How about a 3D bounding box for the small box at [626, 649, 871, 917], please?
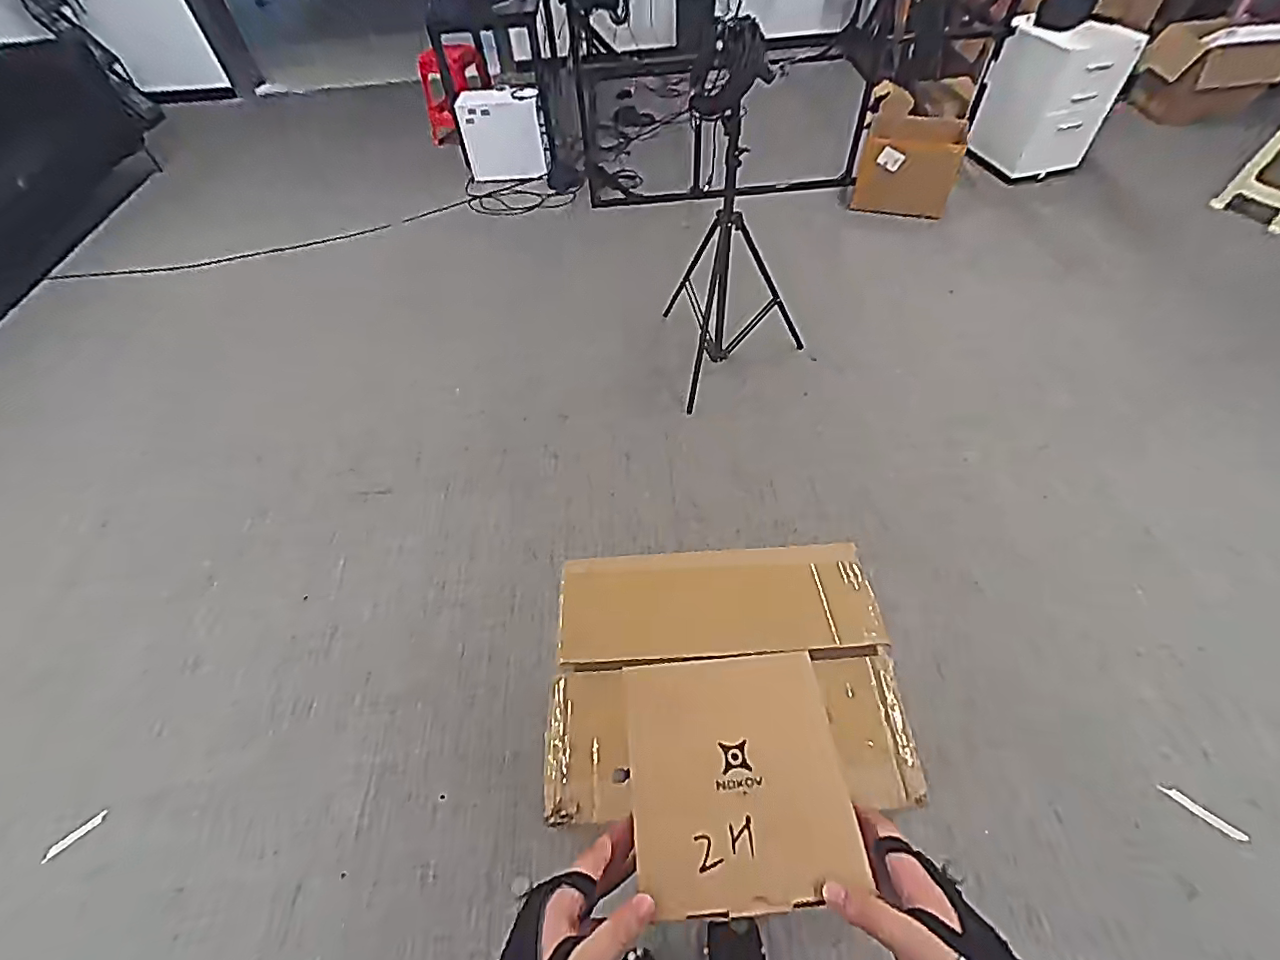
[{"bbox_3d":[0.073,0.272,0.485,0.168,0.176,0.179,-4,51,-3],"label":"small box"}]
